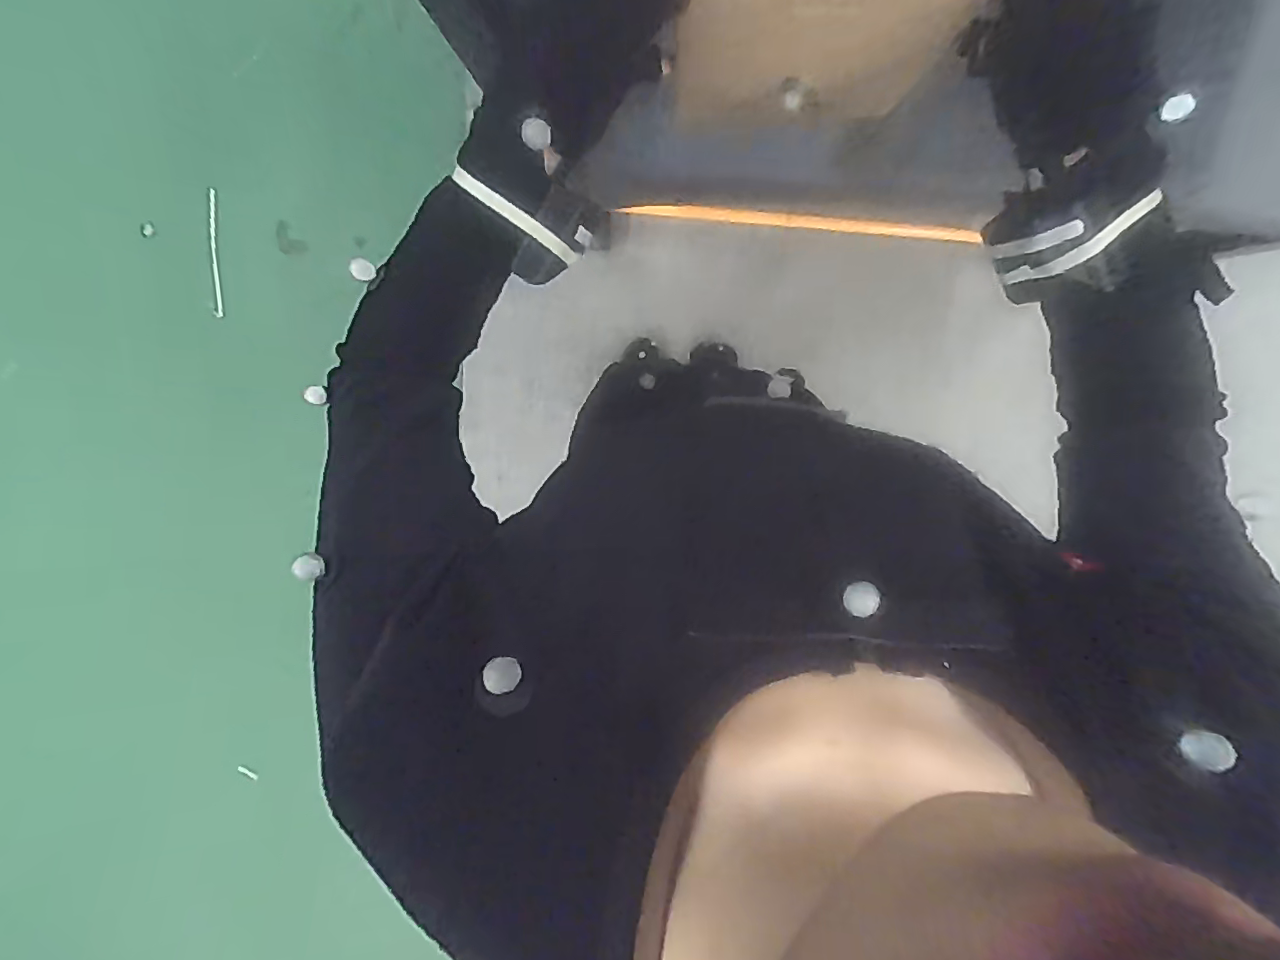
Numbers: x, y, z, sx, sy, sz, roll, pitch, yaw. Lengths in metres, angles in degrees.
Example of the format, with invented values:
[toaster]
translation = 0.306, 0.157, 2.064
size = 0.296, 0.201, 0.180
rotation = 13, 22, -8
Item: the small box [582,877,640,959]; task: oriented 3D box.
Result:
[small box]
translation = -0.089, 1.409, 1.723
size = 0.168, 0.176, 0.179
rotation = -2, 103, 4
